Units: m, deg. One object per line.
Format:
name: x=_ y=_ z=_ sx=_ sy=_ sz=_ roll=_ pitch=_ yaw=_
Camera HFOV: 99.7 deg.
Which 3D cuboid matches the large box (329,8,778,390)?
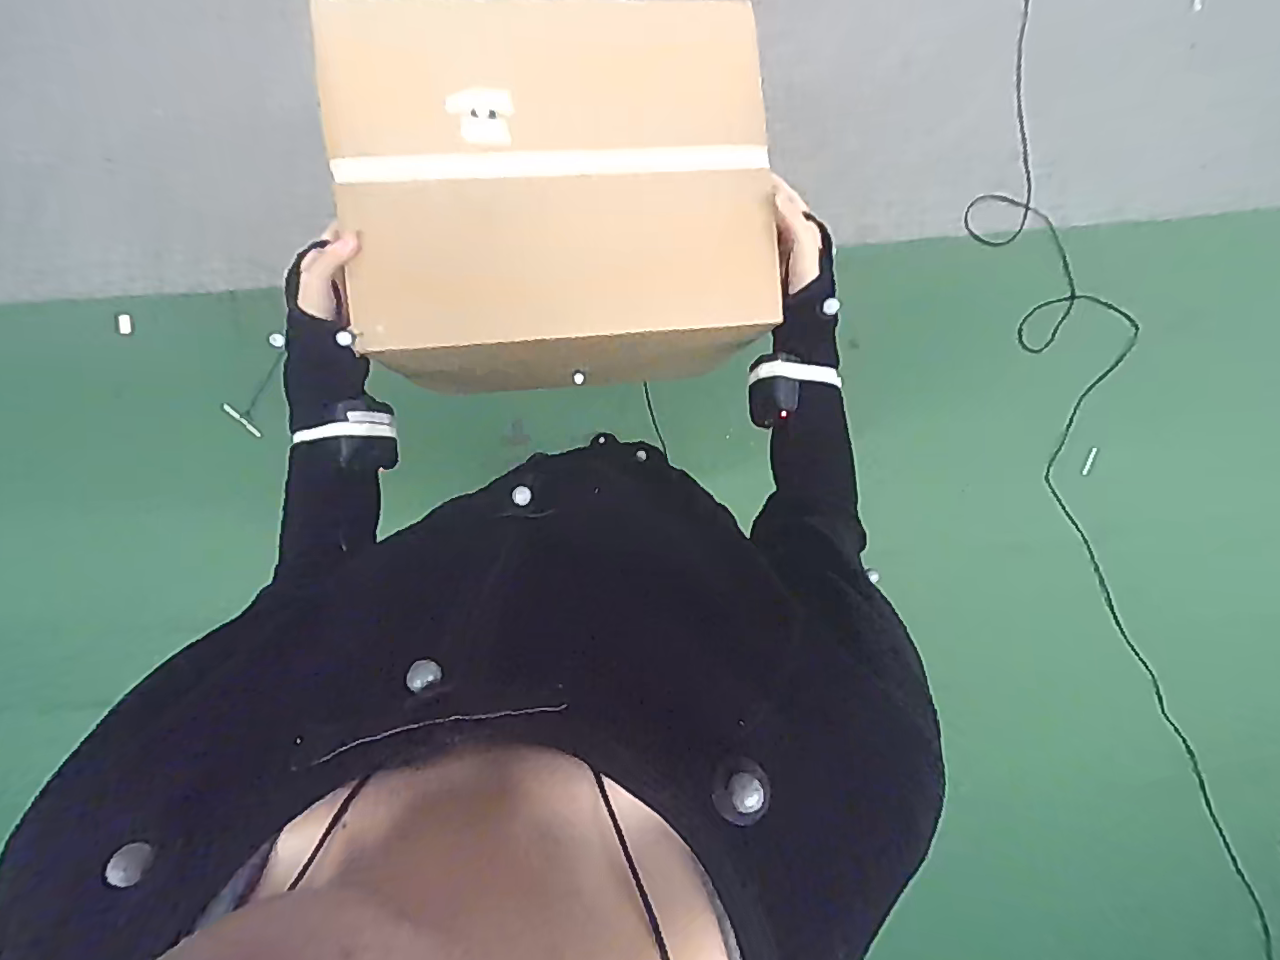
large box: x=-0.087 y=-0.296 z=0.665 sx=0.408 sy=0.320 sz=0.320 roll=-6 pitch=92 yaw=-7
